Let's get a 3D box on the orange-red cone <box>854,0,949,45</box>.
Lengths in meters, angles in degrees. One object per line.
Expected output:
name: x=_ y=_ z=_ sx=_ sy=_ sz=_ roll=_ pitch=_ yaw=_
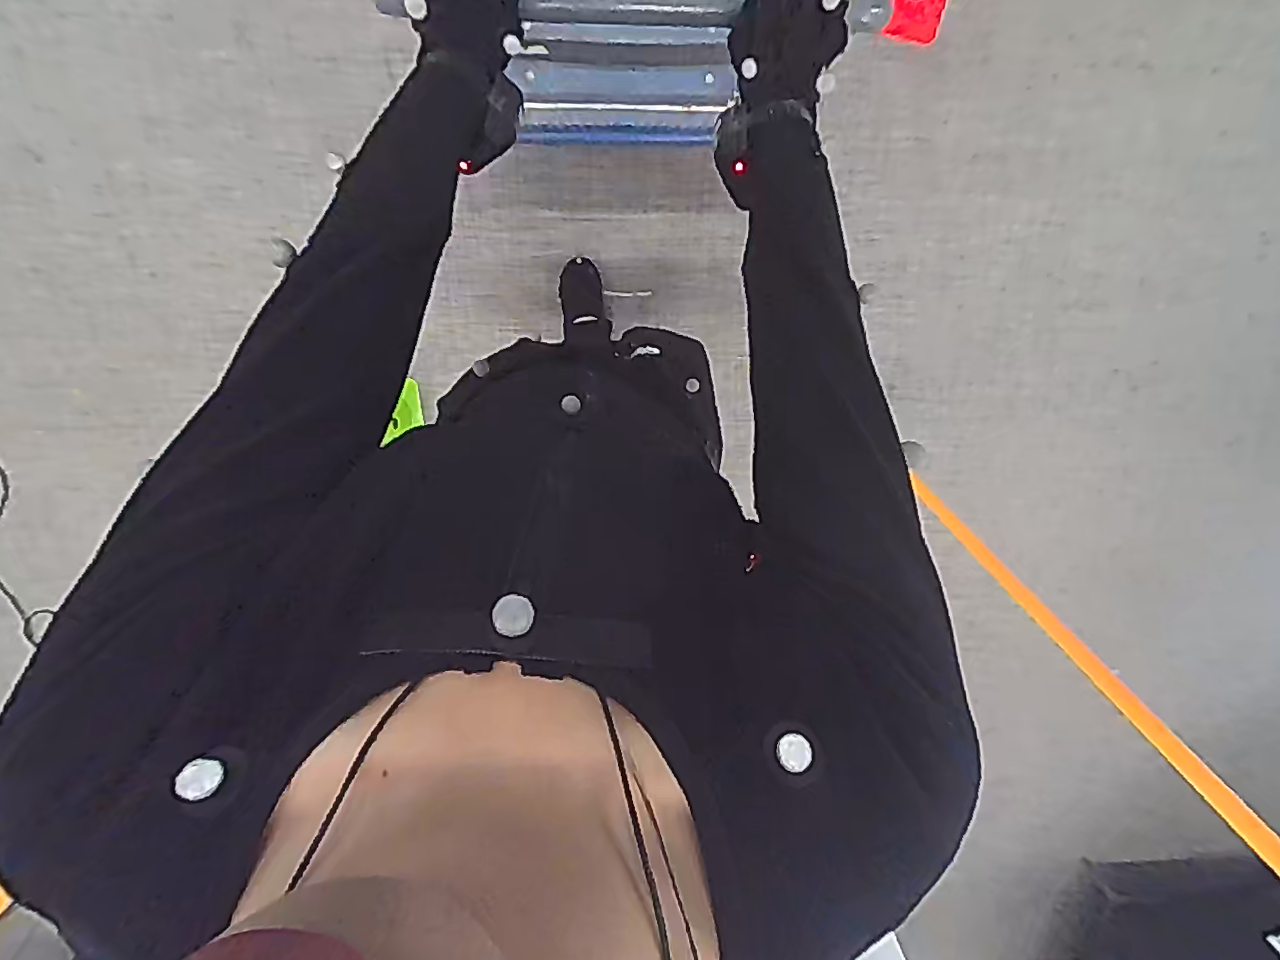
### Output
orange-red cone: x=0.584 y=-1.008 z=1.001 sx=0.198 sy=0.360 sz=0.199 roll=10 pitch=111 yaw=-6
